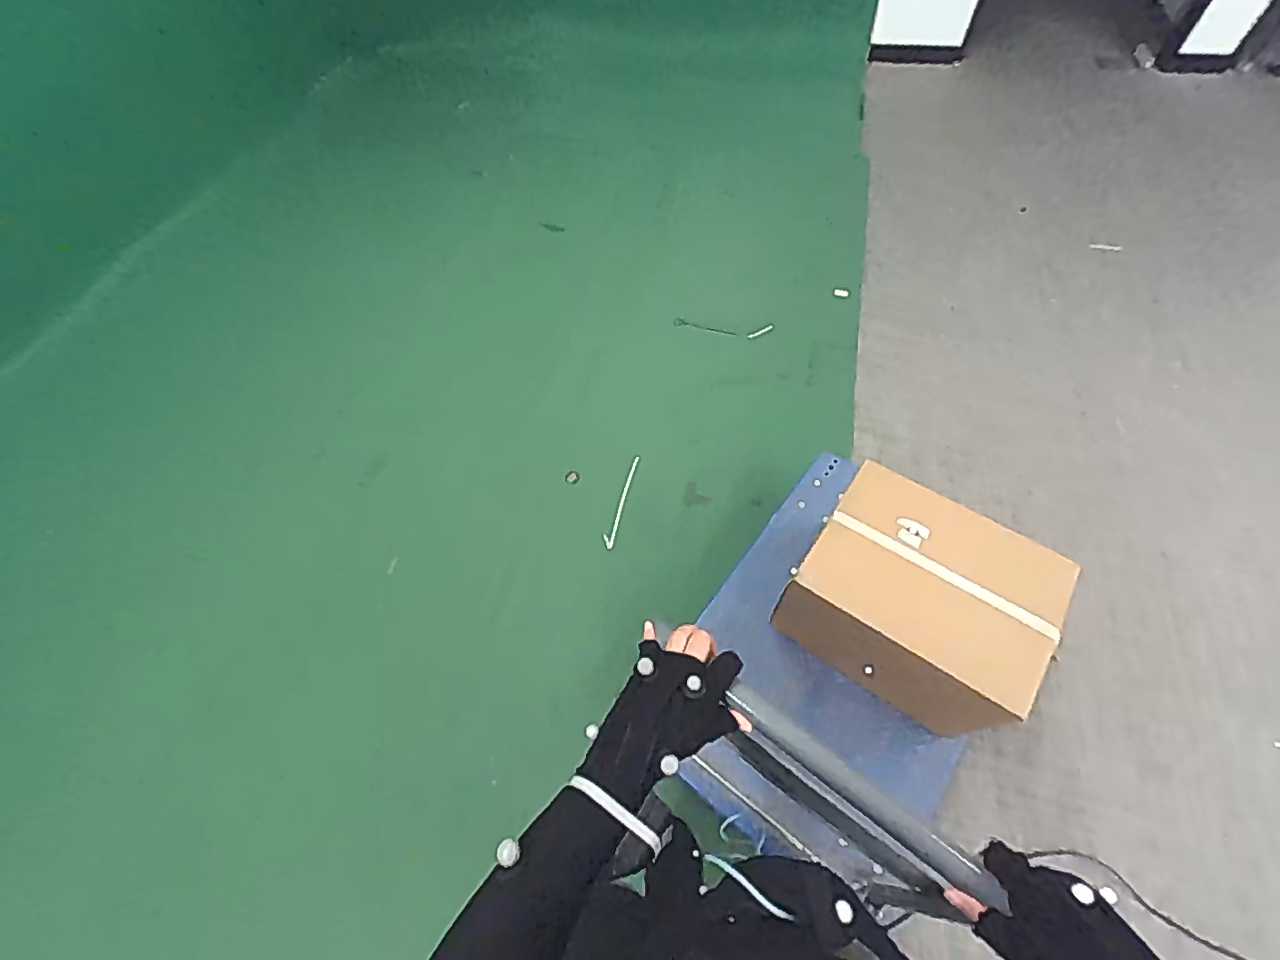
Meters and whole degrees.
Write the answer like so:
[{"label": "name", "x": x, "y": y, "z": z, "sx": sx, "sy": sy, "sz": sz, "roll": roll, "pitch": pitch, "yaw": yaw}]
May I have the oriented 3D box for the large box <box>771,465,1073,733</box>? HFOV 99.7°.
[{"label": "large box", "x": 0.530, "y": 0.243, "z": 1.090, "sx": 0.408, "sy": 0.320, "sz": 0.320, "roll": 31, "pitch": 66, "yaw": 22}]
